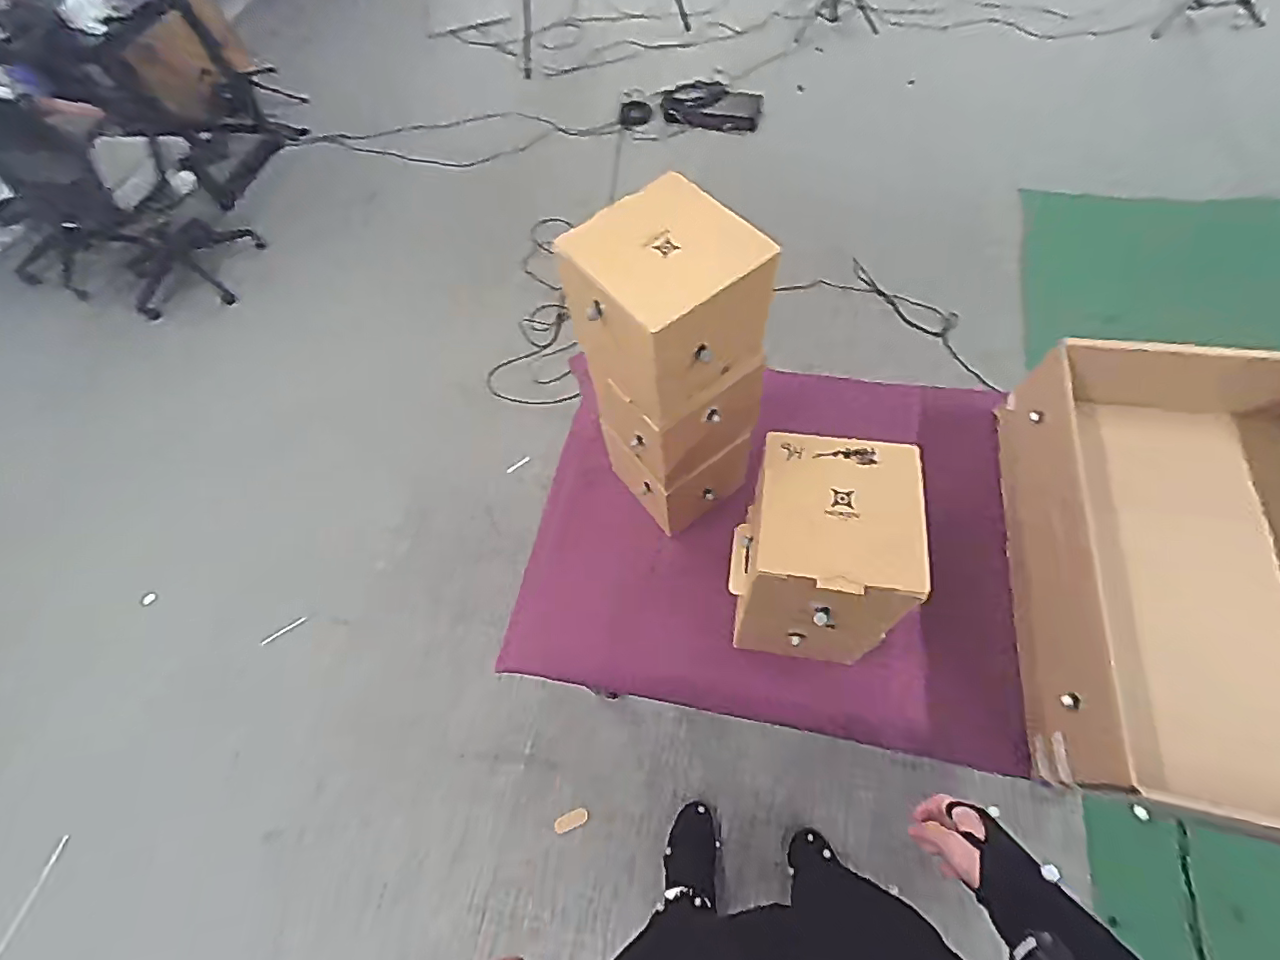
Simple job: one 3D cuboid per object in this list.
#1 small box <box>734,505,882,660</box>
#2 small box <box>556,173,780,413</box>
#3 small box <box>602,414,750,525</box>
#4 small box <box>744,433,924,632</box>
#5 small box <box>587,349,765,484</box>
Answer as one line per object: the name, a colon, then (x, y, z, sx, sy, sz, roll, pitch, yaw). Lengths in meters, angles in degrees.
small box: (0.232, 0.152, 0.779, 0.179, 0.176, 0.168, 6, 62, 9)
small box: (0.033, -0.201, 0.621, 0.168, 0.176, 0.179, -36, 65, -12)
small box: (0.060, -0.044, 0.904, 0.168, 0.176, 0.179, -34, 64, -13)
small box: (0.218, 0.068, 0.639, 0.168, 0.176, 0.179, 7, 62, 9)
small box: (0.052, -0.124, 0.762, 0.179, 0.176, 0.168, -34, 65, -12)
